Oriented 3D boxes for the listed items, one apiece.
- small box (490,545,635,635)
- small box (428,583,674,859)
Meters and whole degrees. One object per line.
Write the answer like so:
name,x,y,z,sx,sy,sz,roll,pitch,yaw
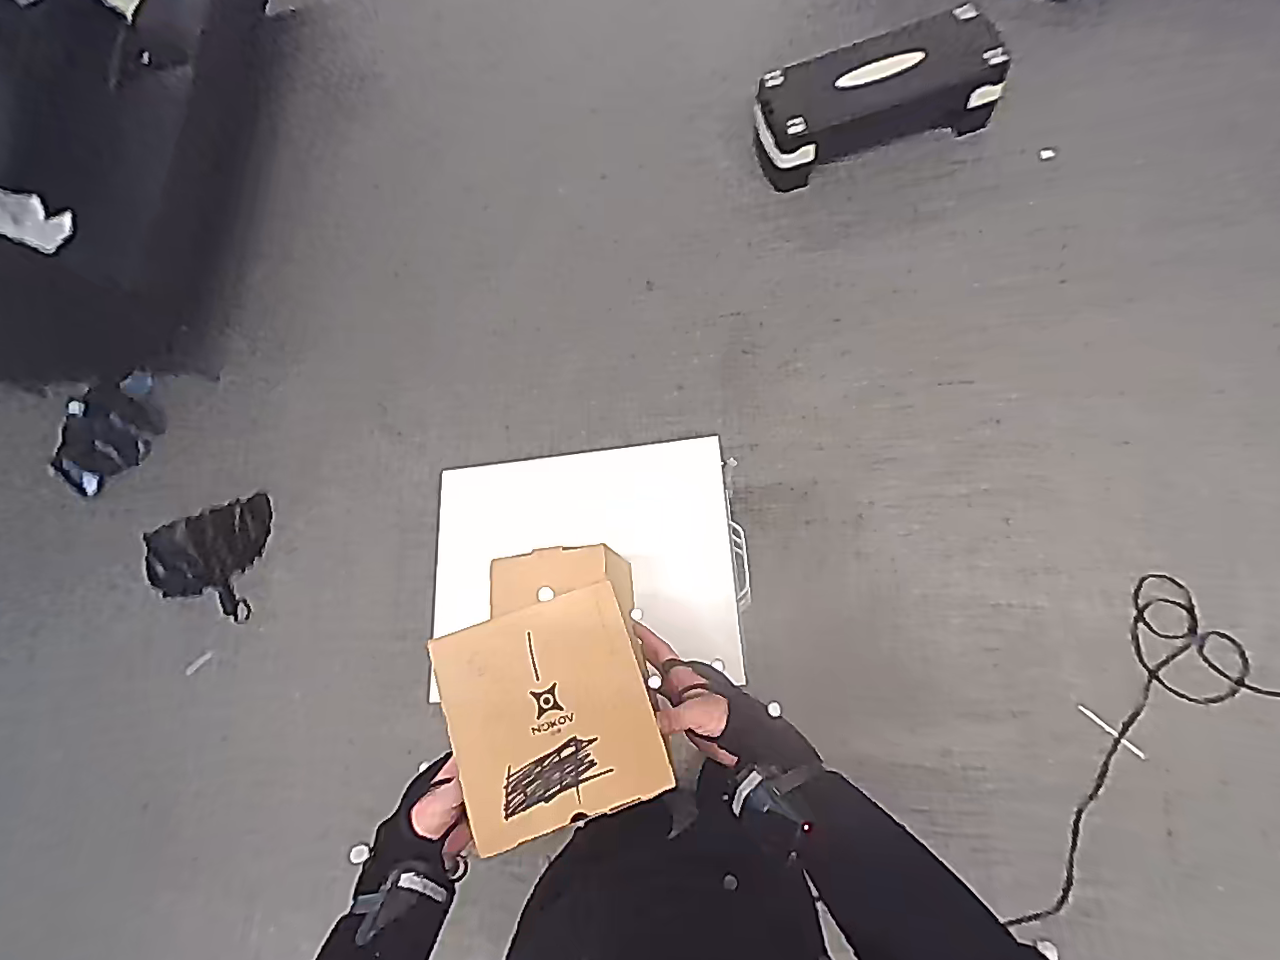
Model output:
small box,-0.105,0.206,0.783,0.168,0.176,0.179,-10,69,9
small box,-0.075,0.210,0.523,0.168,0.176,0.179,-20,78,-5
